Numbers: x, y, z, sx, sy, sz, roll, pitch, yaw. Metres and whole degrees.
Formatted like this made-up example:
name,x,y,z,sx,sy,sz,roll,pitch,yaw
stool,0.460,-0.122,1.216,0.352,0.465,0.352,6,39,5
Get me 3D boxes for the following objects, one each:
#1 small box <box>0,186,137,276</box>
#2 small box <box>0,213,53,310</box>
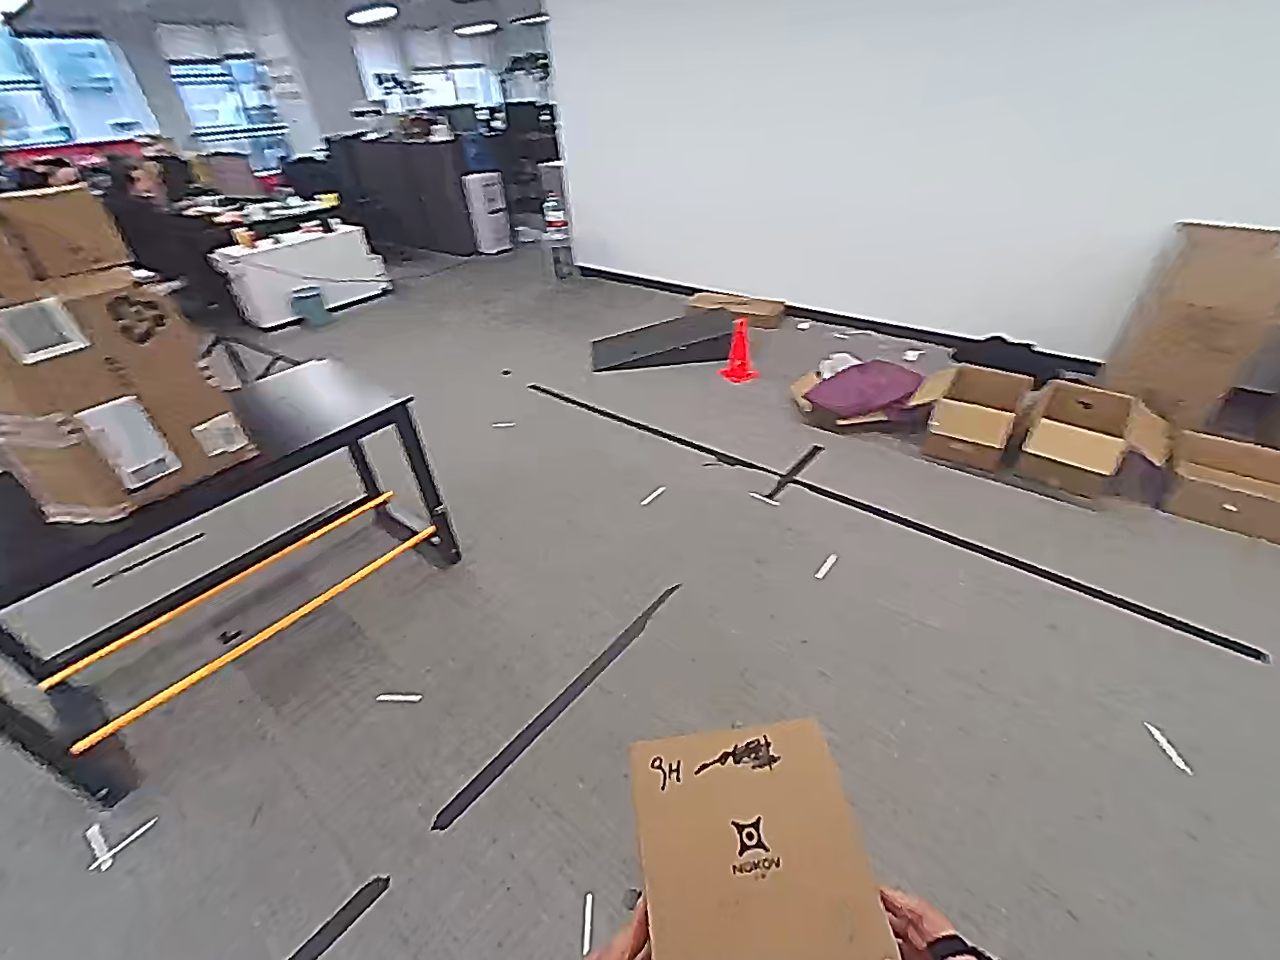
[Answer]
name,x,y,z,sx,sy,sz,roll,pitch,yaw
small box,-1.364,-0.593,1.288,0.179,0.176,0.168,20,42,31
small box,-1.321,-0.428,1.054,0.179,0.176,0.168,23,43,28
